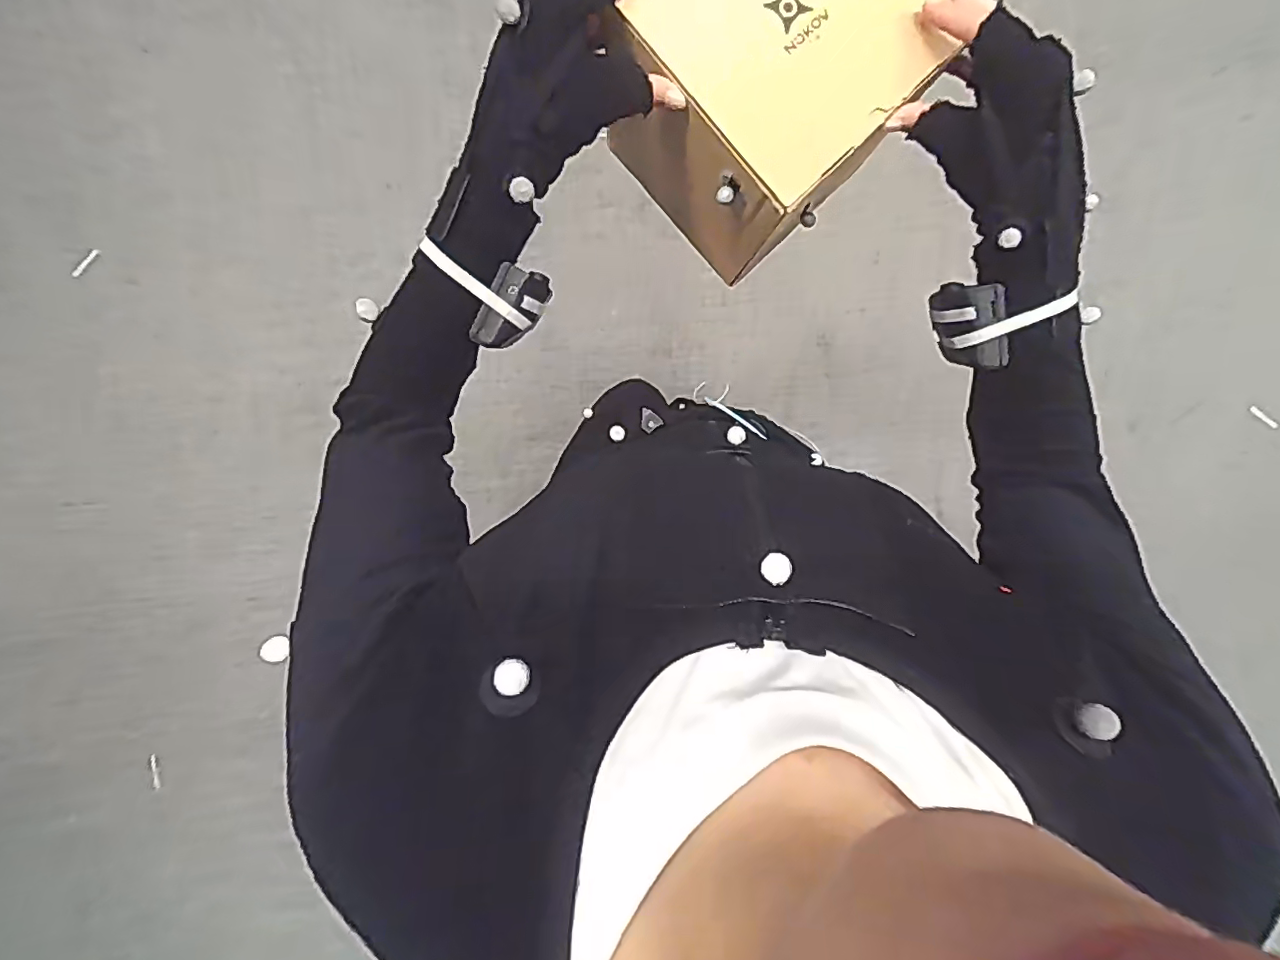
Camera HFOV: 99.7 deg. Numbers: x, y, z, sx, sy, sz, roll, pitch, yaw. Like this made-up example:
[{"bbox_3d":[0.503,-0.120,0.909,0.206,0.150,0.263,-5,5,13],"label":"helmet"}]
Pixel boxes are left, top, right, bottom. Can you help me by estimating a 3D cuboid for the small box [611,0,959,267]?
[{"bbox_3d":[0.088,-0.304,0.425,0.168,0.176,0.179,-43,96,0],"label":"small box"}]
